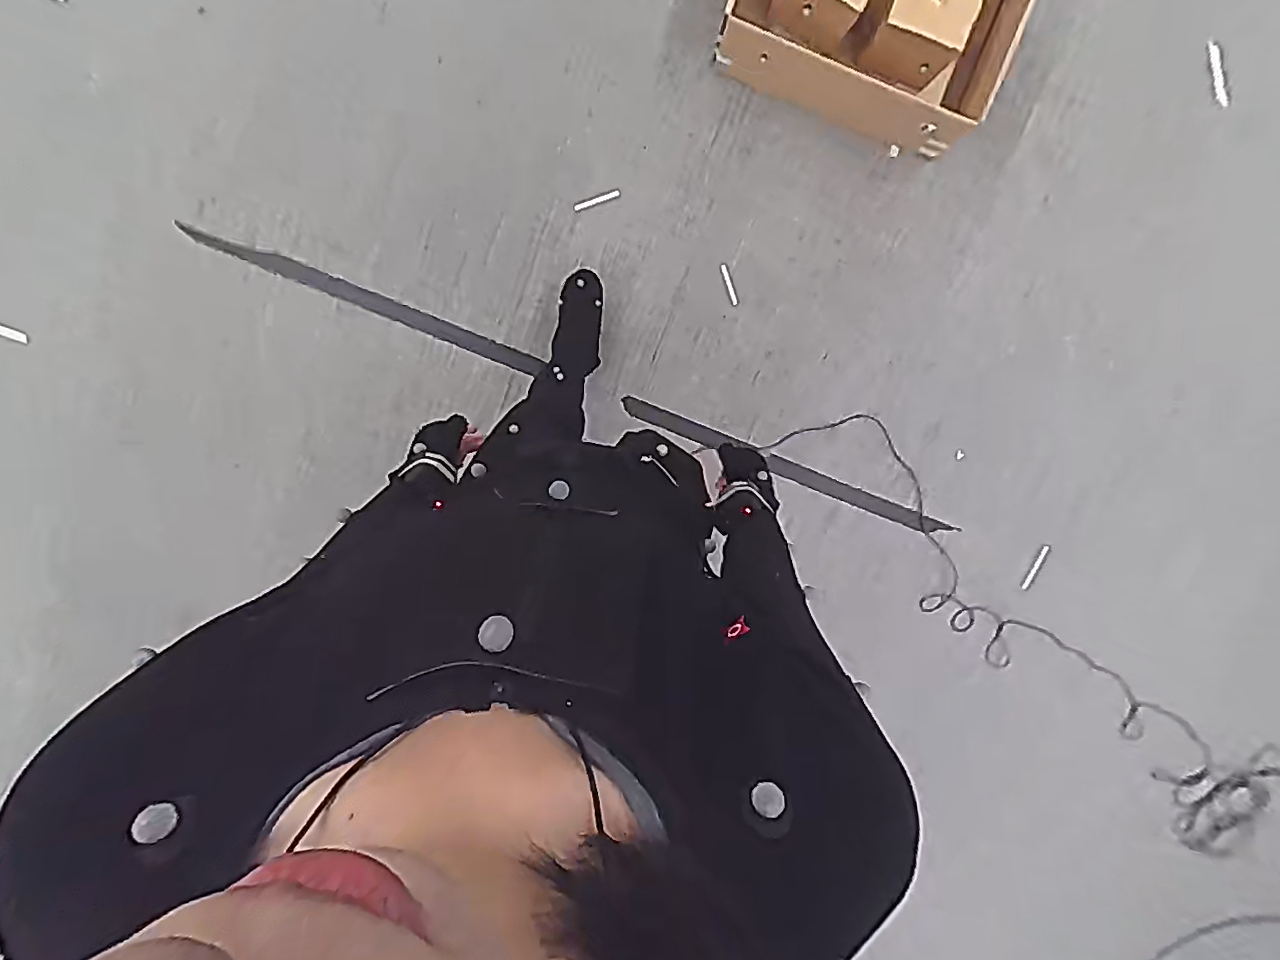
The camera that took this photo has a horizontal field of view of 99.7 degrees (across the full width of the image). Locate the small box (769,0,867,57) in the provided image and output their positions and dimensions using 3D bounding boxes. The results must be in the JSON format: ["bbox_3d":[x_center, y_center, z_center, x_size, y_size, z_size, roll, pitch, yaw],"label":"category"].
[{"bbox_3d":[0.407,-1.082,1.182,0.179,0.176,0.168,23,100,-6],"label":"small box"}]

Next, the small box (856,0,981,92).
[{"bbox_3d":[0.619,-1.010,1.205,0.179,0.176,0.168,18,100,-3],"label":"small box"}]
